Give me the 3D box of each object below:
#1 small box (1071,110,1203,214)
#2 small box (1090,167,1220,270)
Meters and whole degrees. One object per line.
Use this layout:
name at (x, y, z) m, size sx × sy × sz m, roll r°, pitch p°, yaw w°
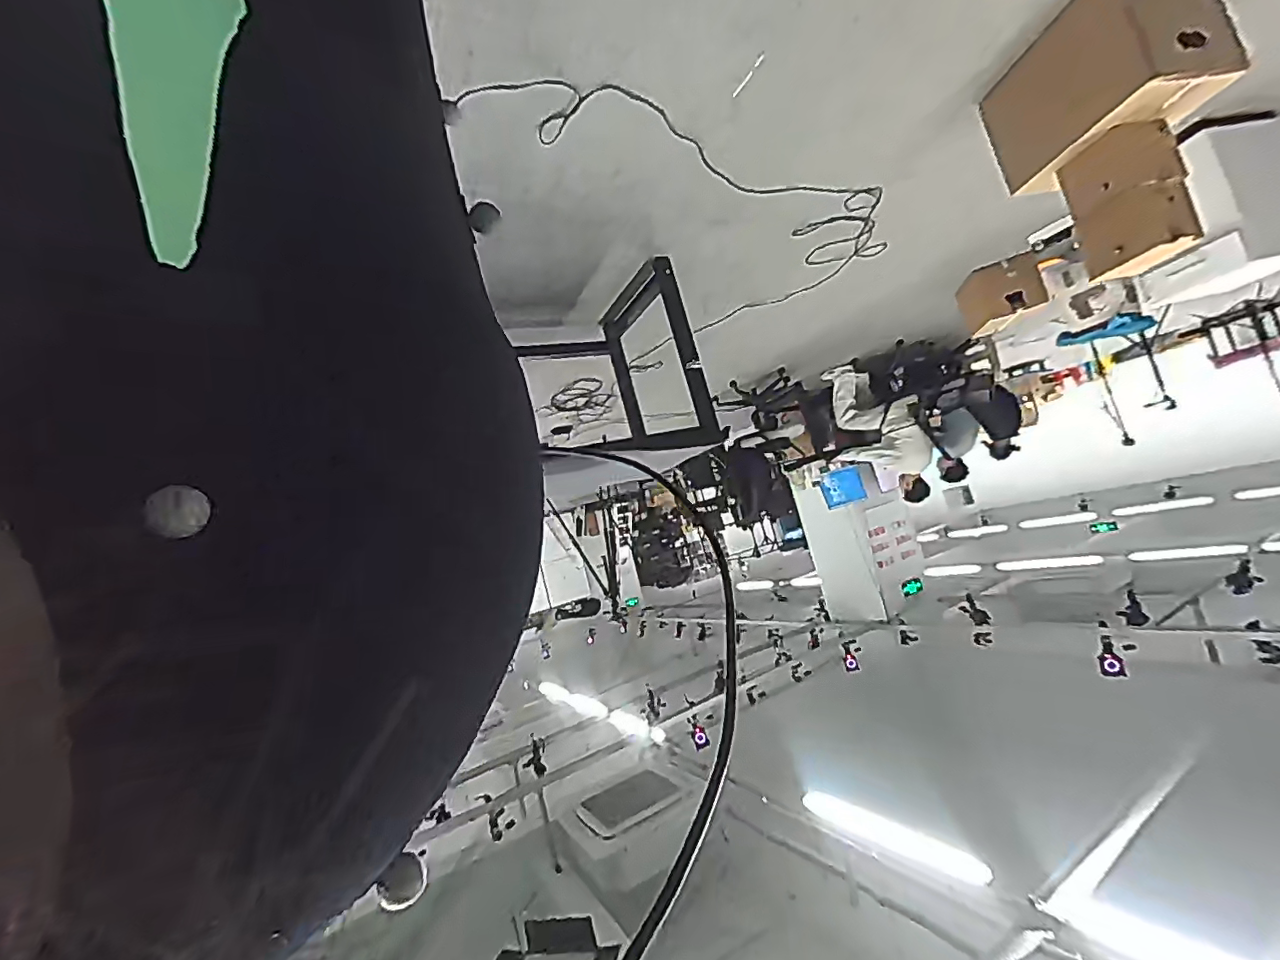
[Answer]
small box at (1.297, -0.841, 1.425) m, size 0.168 × 0.176 × 0.179 m, roll -13°, pitch 173°, yaw -10°
small box at (1.335, -0.683, 1.418) m, size 0.168 × 0.176 × 0.179 m, roll -13°, pitch 173°, yaw -11°
